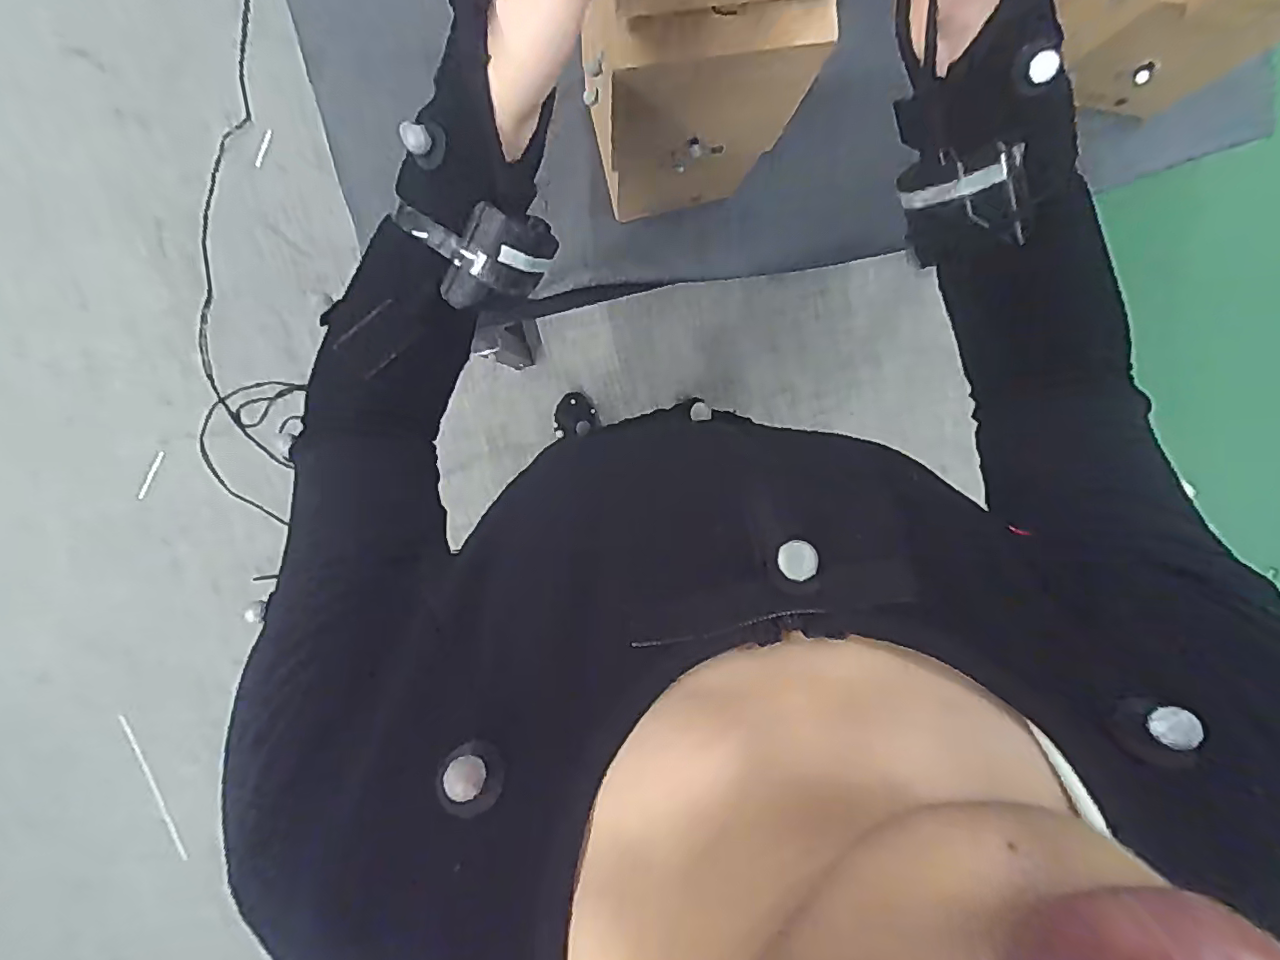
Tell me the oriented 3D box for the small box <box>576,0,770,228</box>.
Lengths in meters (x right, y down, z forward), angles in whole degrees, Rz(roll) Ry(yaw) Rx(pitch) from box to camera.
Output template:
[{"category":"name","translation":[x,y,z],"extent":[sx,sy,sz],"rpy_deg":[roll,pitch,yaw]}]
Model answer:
[{"category":"small box","translation":[0.030,-0.417,0.612],"extent":[0.168,0.176,0.179],"rpy_deg":[-14,97,0]}]

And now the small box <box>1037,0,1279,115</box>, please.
[{"category":"small box","translation":[0.596,-0.554,0.611],"extent":[0.168,0.176,0.179],"rpy_deg":[6,95,-3]}]
